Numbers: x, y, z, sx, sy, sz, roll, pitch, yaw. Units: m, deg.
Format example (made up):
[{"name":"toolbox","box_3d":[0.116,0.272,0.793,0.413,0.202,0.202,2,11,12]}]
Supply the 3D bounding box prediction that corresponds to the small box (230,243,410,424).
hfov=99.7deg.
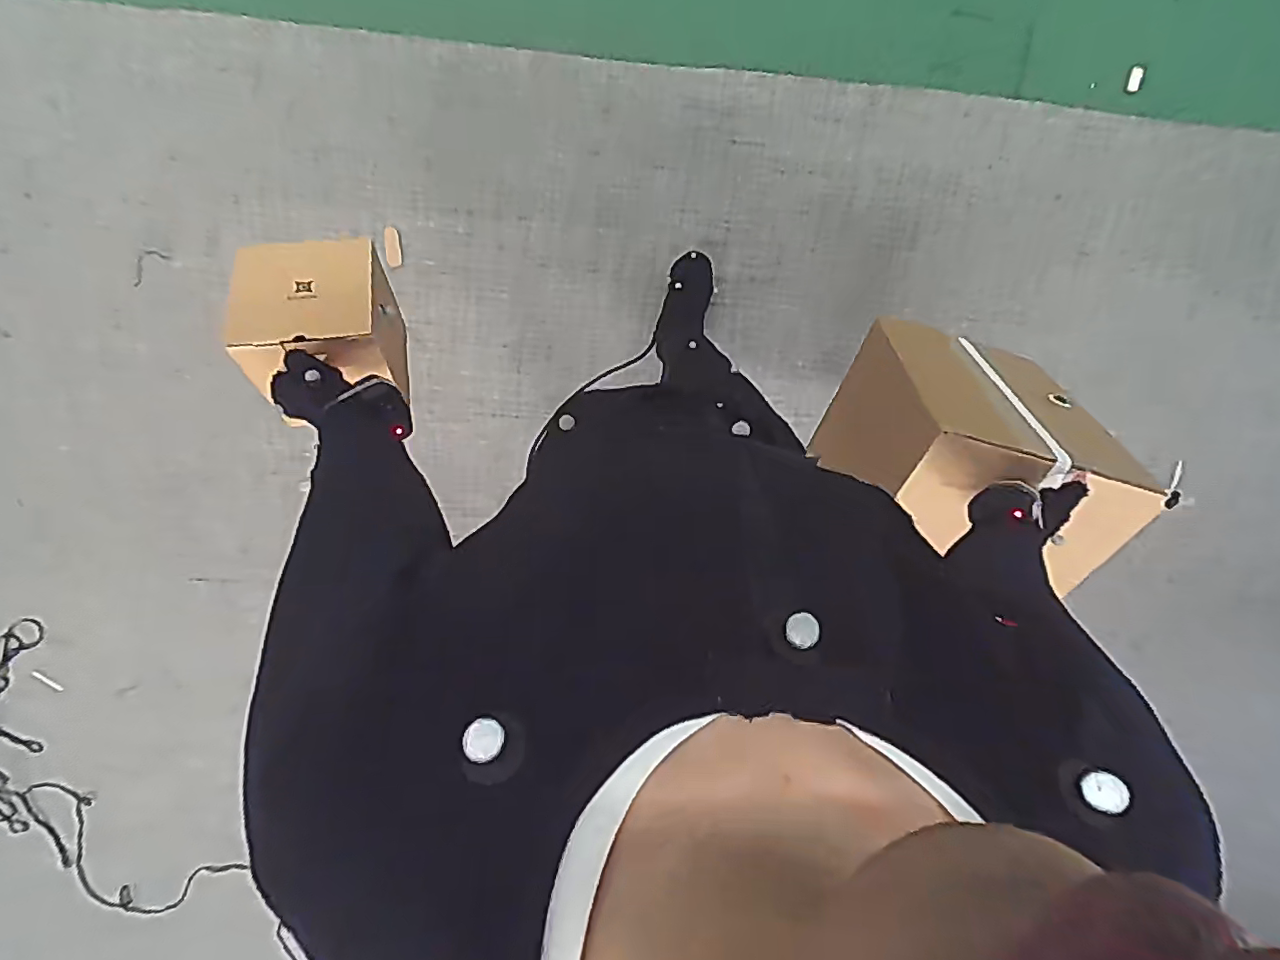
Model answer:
[{"name":"small box","box_3d":[-0.433,-0.203,0.761,0.168,0.176,0.179,-9,64,-11]}]
